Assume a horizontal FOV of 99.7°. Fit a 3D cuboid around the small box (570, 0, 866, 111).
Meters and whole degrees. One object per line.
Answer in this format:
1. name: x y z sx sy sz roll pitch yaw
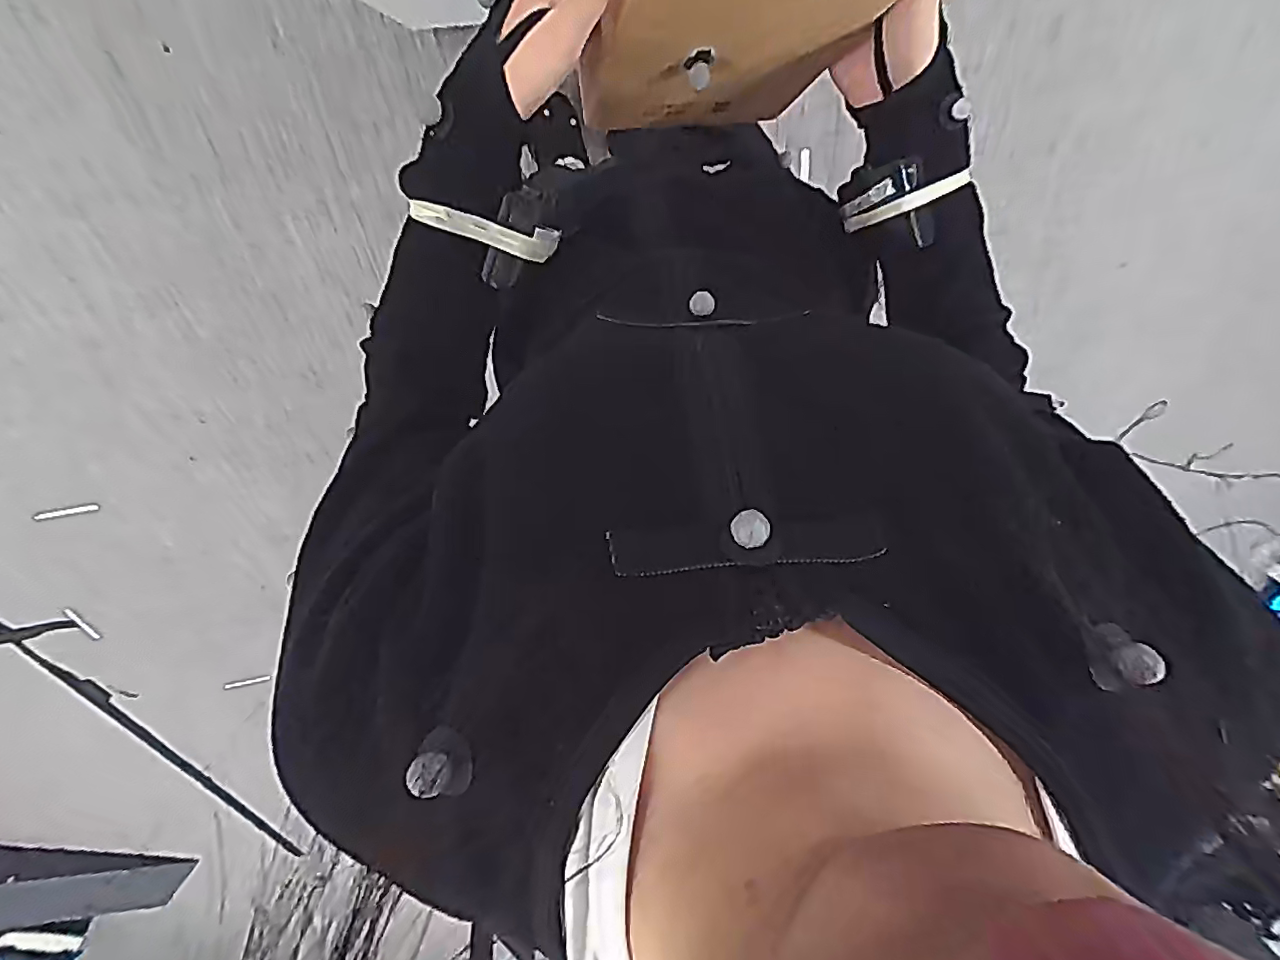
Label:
1. small box: 0.045 -0.360 0.340 0.168 0.176 0.179 -11 101 -11
